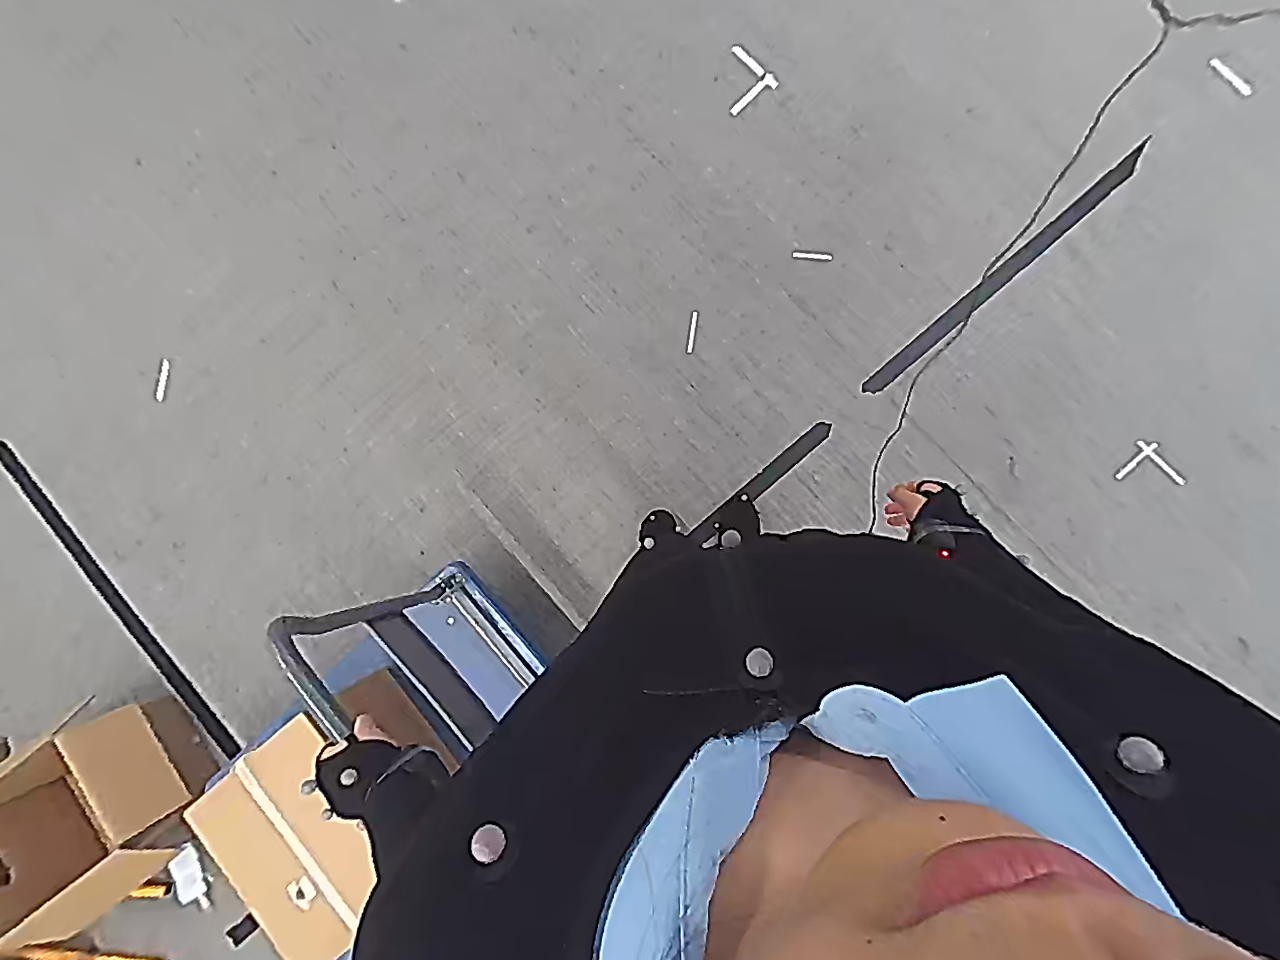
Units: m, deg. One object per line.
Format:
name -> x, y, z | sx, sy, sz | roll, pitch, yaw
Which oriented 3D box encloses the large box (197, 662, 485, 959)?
large box -> -0.625, 0.690, 1.197 | 0.320, 0.320, 0.408 | -41, 86, 1
